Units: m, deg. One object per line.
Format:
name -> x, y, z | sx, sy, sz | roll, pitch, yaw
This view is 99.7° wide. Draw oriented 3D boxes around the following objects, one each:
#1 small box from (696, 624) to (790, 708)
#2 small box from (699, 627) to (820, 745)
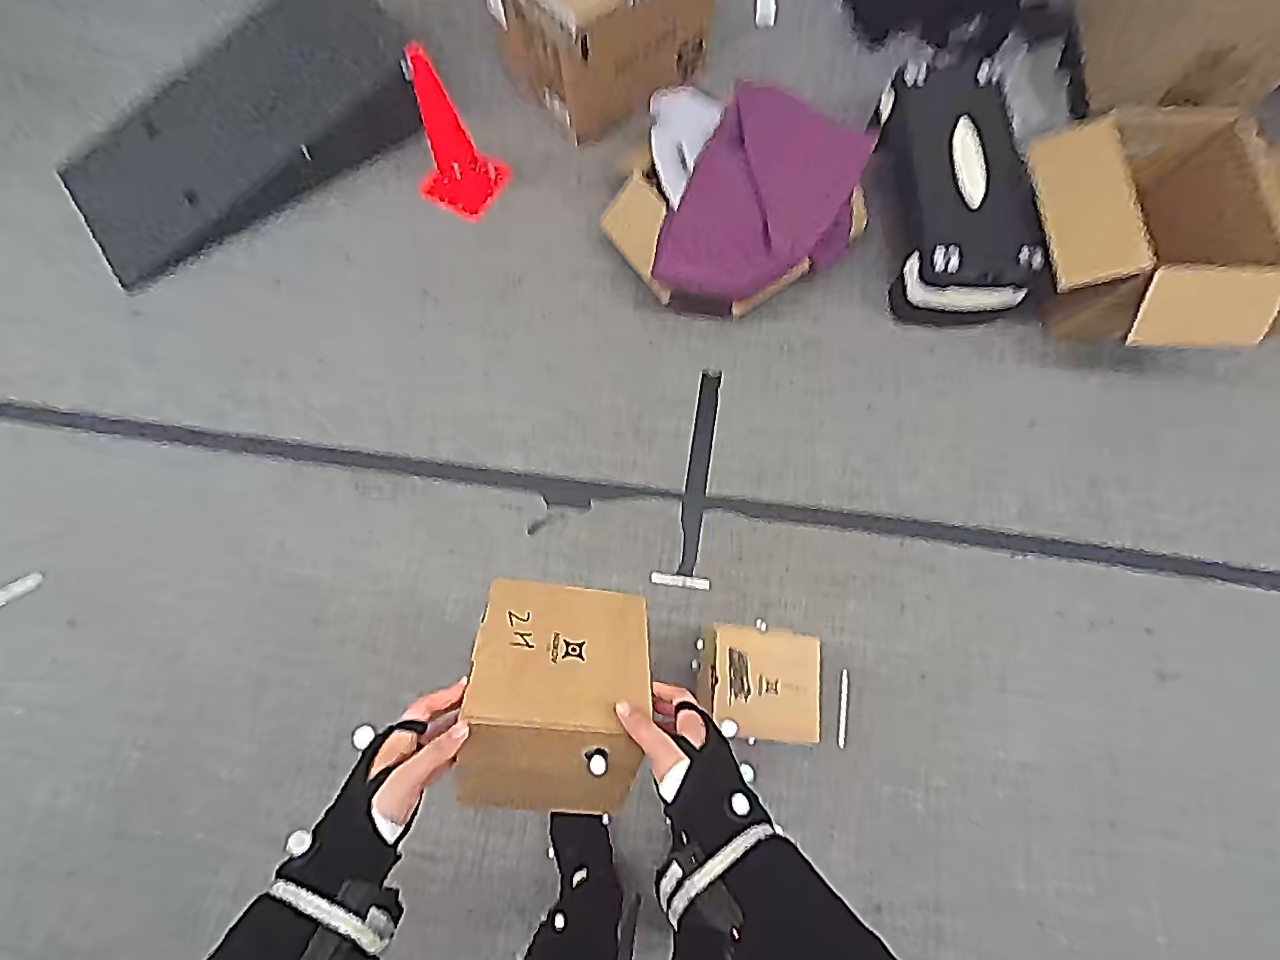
small box -> 0.208, 0.396, 1.113 | 0.168, 0.176, 0.179 | 6, 75, 1
small box -> 0.203, 0.355, 0.952 | 0.179, 0.176, 0.168 | 6, 75, 0
